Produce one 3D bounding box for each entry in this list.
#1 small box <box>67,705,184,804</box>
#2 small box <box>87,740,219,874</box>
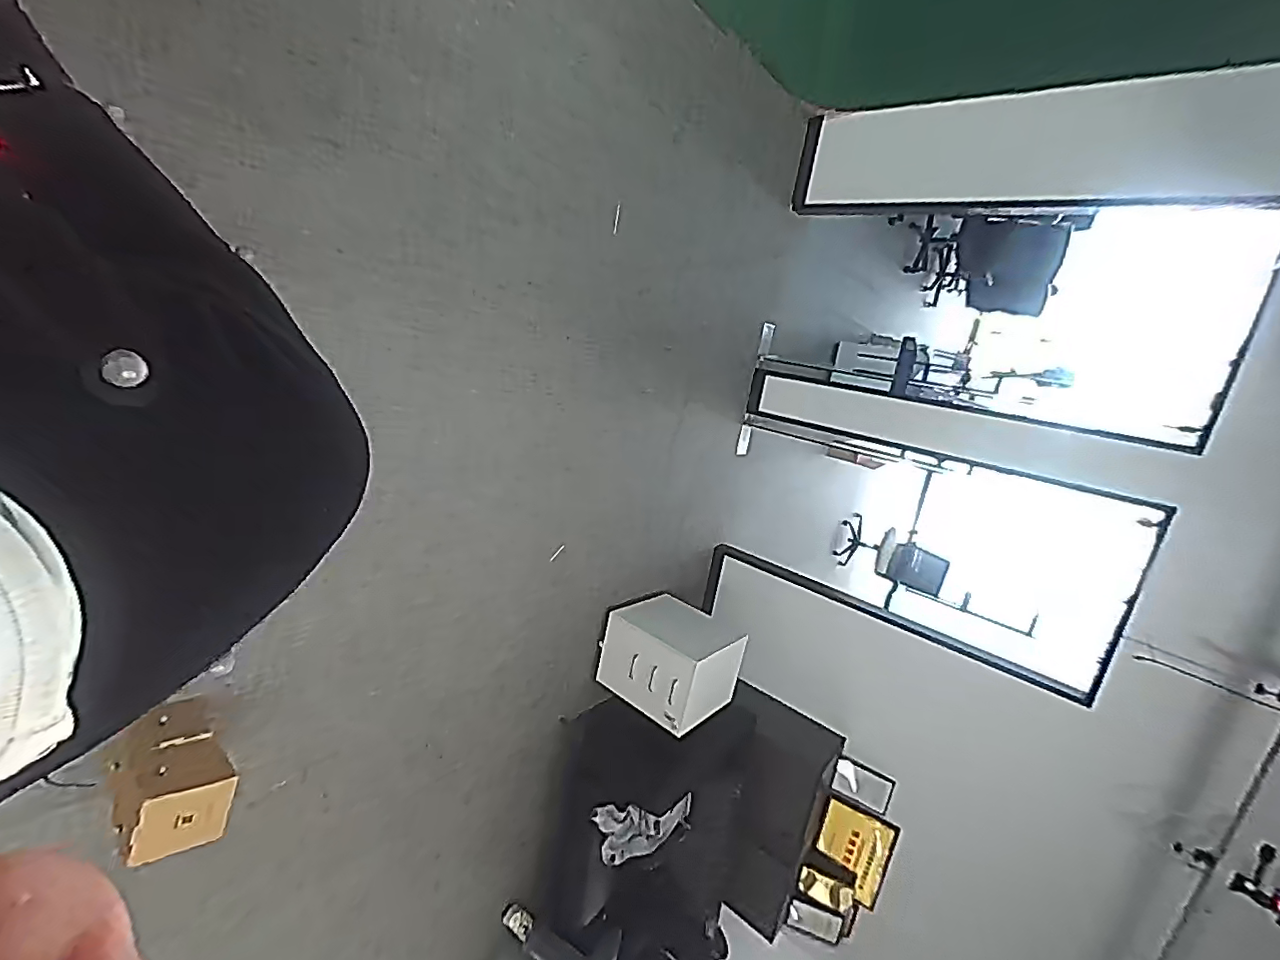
[{"bbox_3d":[-1.231,0.692,1.323,0.179,0.176,0.168,-36,135,-41],"label":"small box"},{"bbox_3d":[-1.112,0.731,1.232,0.179,0.176,0.168,13,98,-57],"label":"small box"}]
